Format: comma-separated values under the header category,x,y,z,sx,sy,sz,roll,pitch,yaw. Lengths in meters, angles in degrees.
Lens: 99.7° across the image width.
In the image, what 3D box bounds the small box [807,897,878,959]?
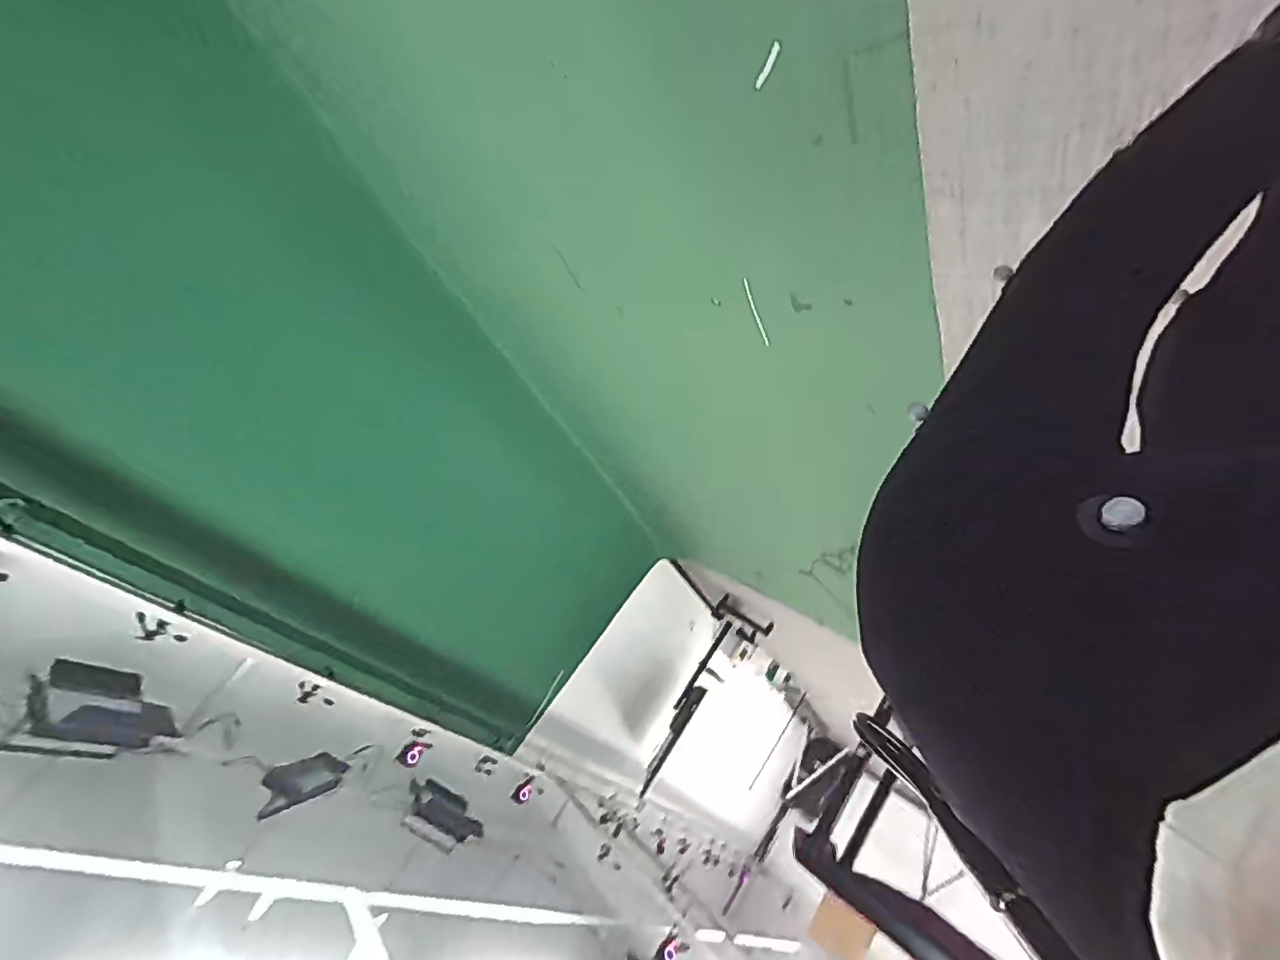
category,x,y,z,sx,sy,sz,roll,pitch,yaw
small box,0.705,1.589,1.864,0.179,0.176,0.168,22,155,40
